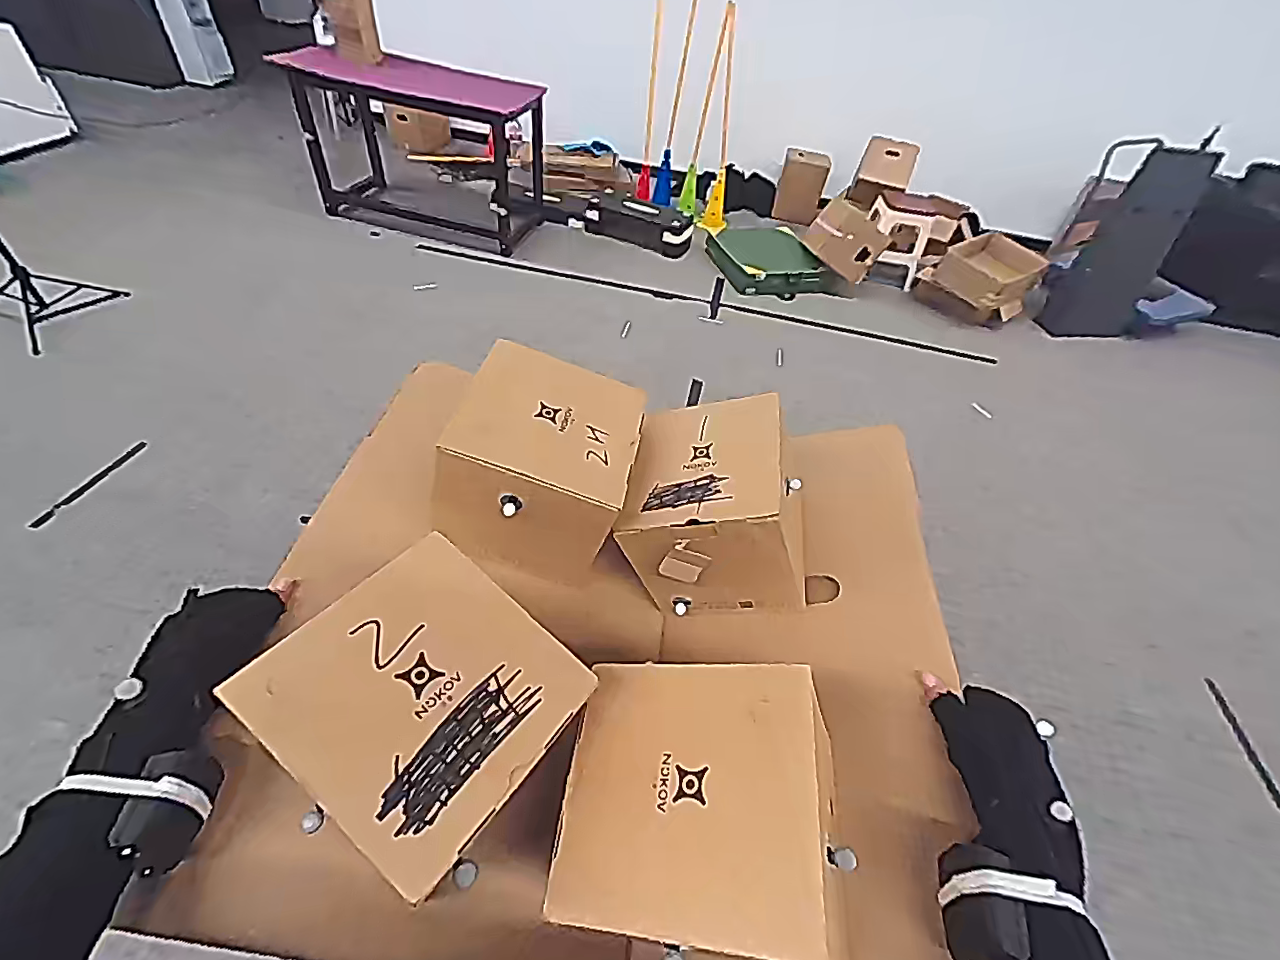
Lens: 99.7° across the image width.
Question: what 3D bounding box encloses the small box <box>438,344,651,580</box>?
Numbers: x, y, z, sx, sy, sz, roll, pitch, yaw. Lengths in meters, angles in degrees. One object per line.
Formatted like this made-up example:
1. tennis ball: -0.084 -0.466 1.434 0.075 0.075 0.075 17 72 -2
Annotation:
1. small box: -0.108 -0.012 0.597 0.179 0.176 0.168 21 49 -8
